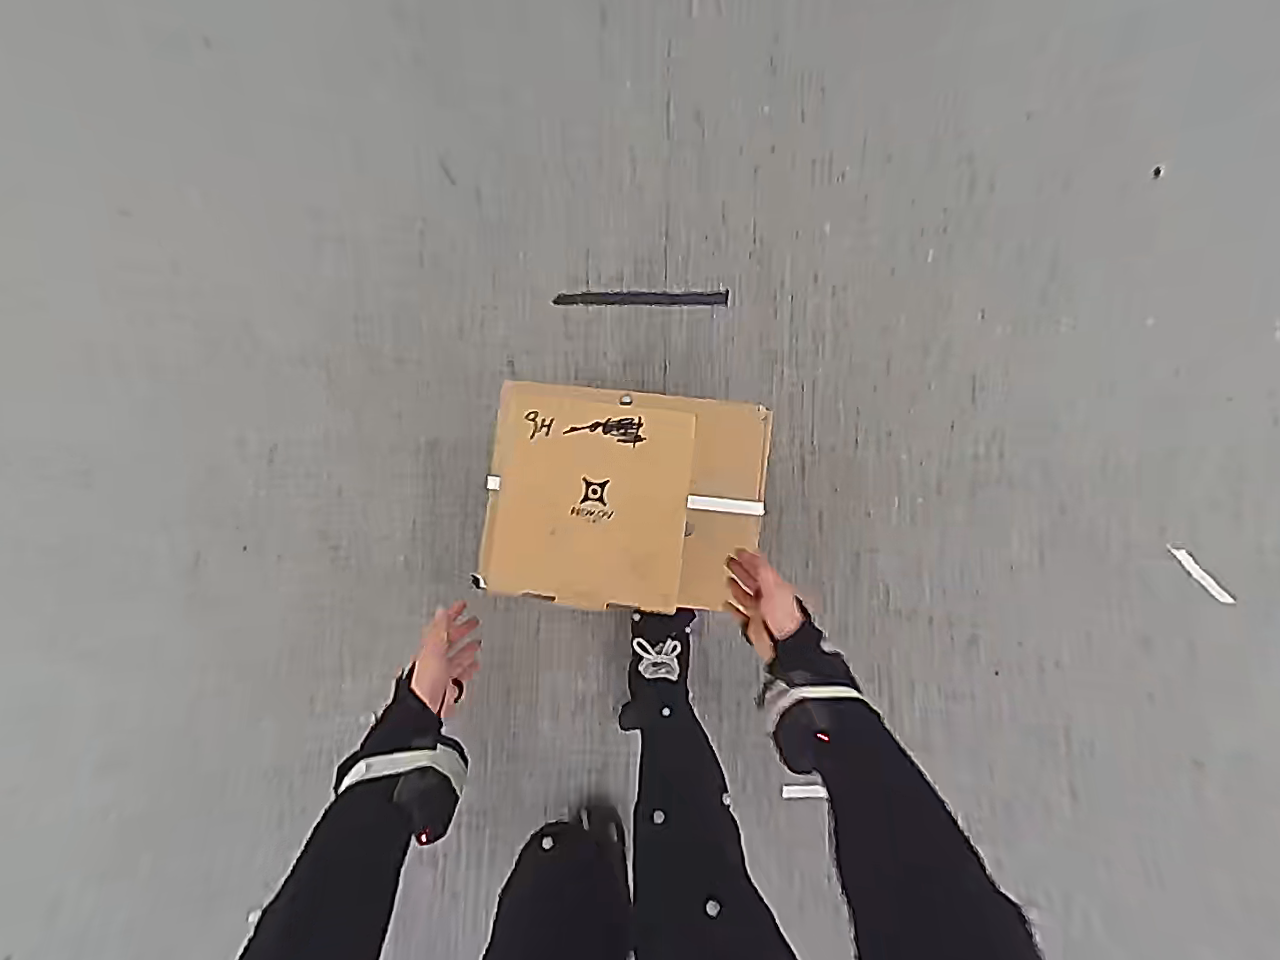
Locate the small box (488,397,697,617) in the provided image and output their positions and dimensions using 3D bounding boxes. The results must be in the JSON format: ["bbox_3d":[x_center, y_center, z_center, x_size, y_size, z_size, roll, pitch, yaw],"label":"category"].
[{"bbox_3d":[-0.040,0.025,0.544,0.168,0.176,0.179,6,88,0],"label":"small box"}]
